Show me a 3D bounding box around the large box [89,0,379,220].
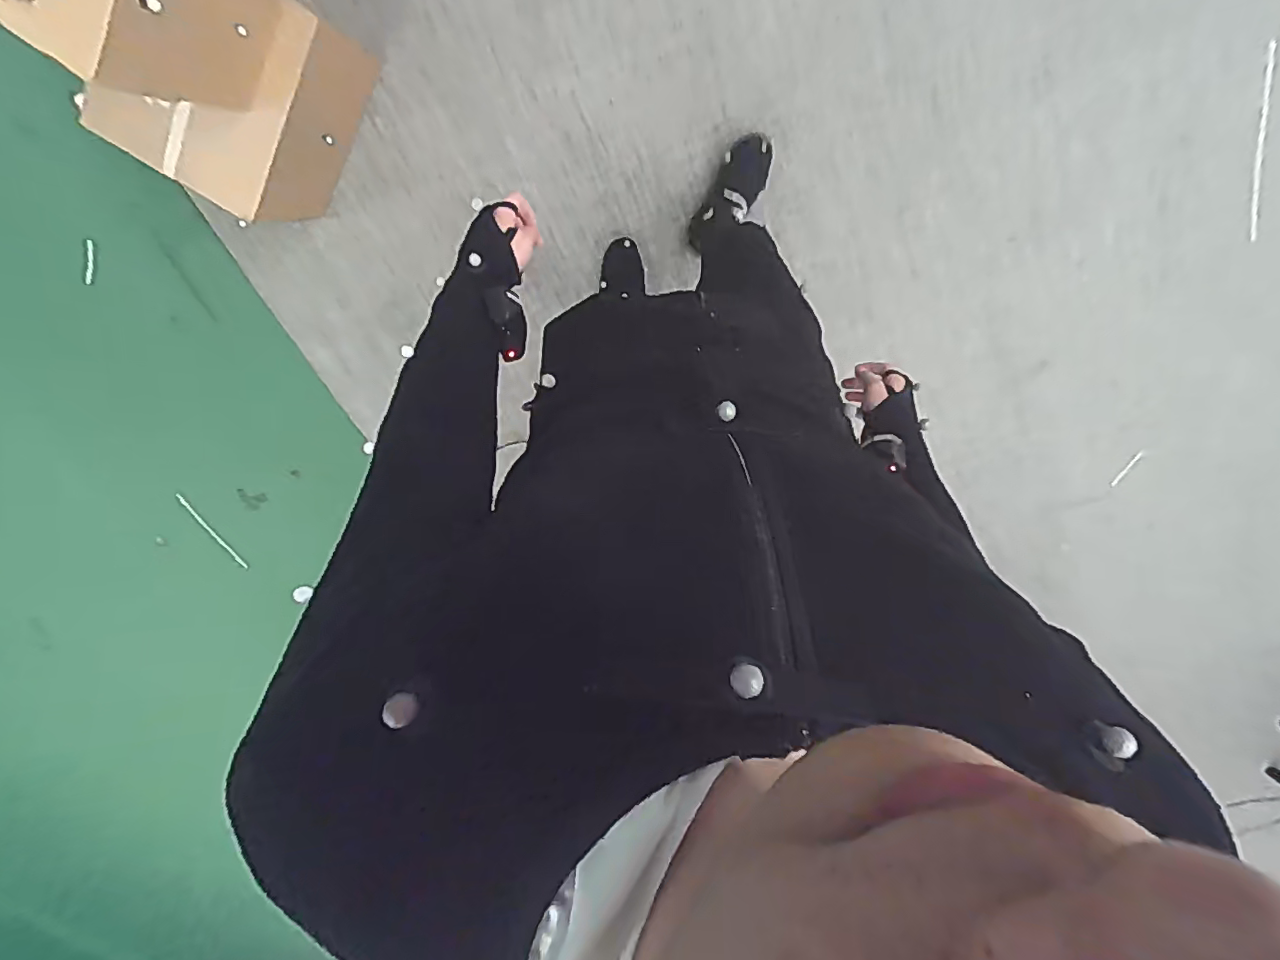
[{"bbox_3d":[-0.800,-0.816,1.104,0.320,0.320,0.408,30,114,-16],"label":"large box"}]

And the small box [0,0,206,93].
[{"bbox_3d":[-0.734,-0.665,0.721,0.168,0.176,0.179,35,112,-19],"label":"small box"}]
